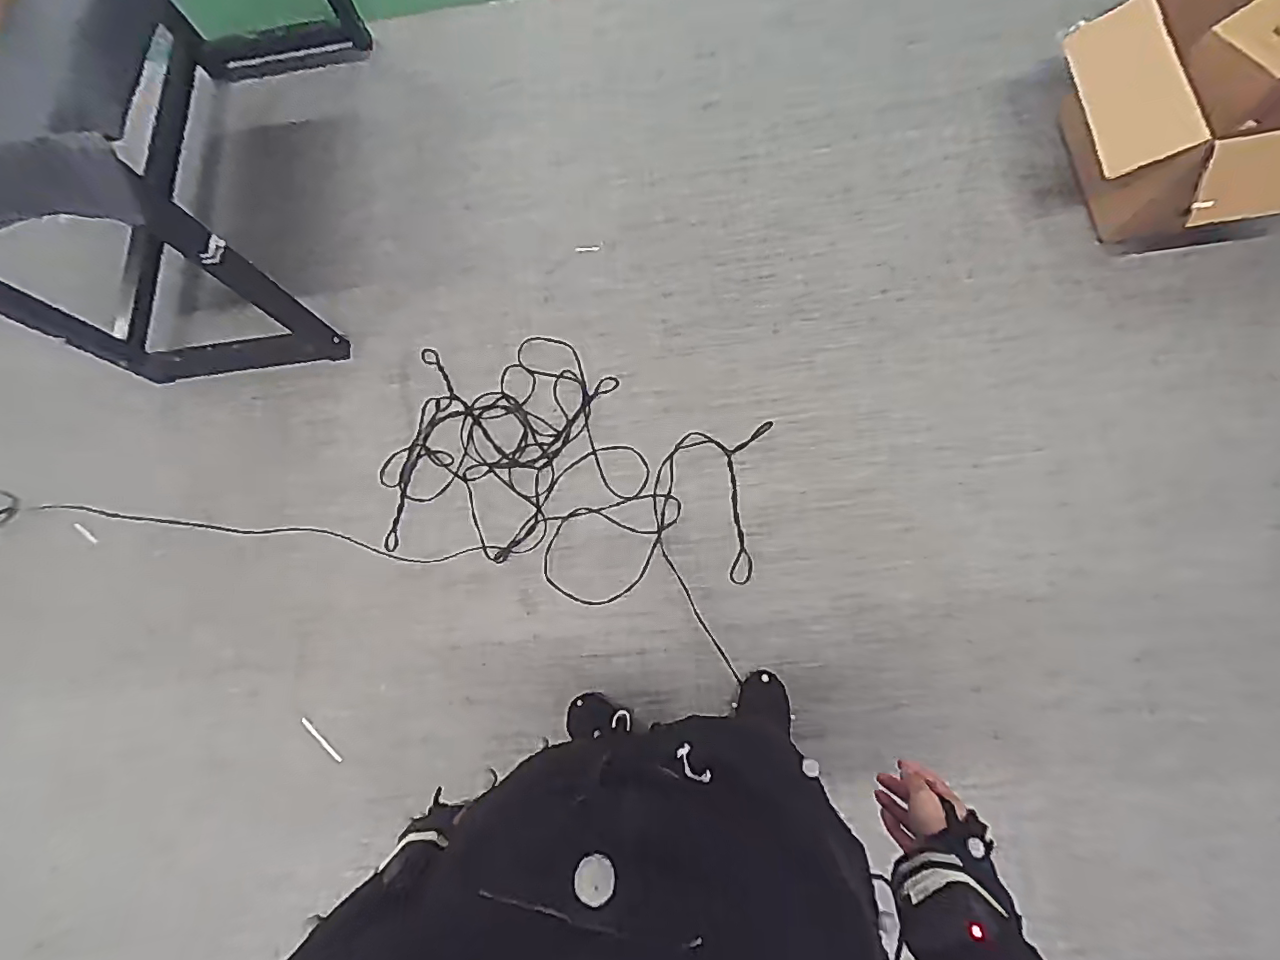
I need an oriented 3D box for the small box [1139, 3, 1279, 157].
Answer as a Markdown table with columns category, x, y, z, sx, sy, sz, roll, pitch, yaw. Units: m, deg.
| category | x | y | z | sx | sy | sz | roll | pitch | yaw |
| --- | --- | --- | --- | --- | --- | --- | --- | --- | --- |
| small box | 1.245 | -0.843 | 1.152 | 0.179 | 0.176 | 0.168 | -32 | 75 | -4 |
